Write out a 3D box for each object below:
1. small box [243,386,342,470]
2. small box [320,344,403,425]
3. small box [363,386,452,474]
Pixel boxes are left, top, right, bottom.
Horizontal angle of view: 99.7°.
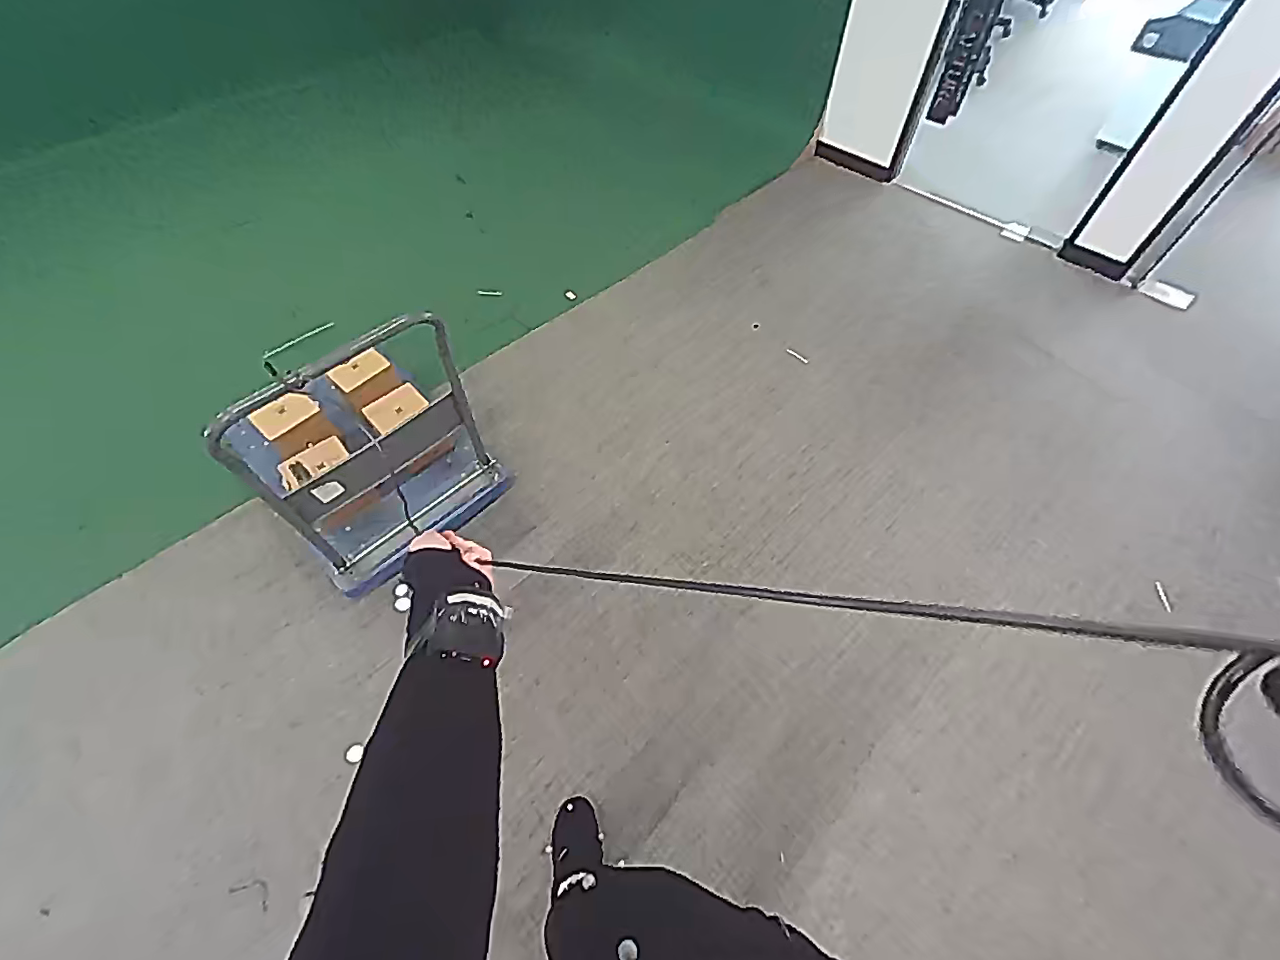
[{"bbox_3d":[-1.078,-0.154,1.693,0.179,0.176,0.168,36,63,22],"label":"small box"},{"bbox_3d":[-0.912,-0.312,1.797,0.179,0.176,0.168,37,65,21],"label":"small box"},{"bbox_3d":[-0.722,-0.152,1.690,0.168,0.176,0.179,-39,65,-22],"label":"small box"}]
